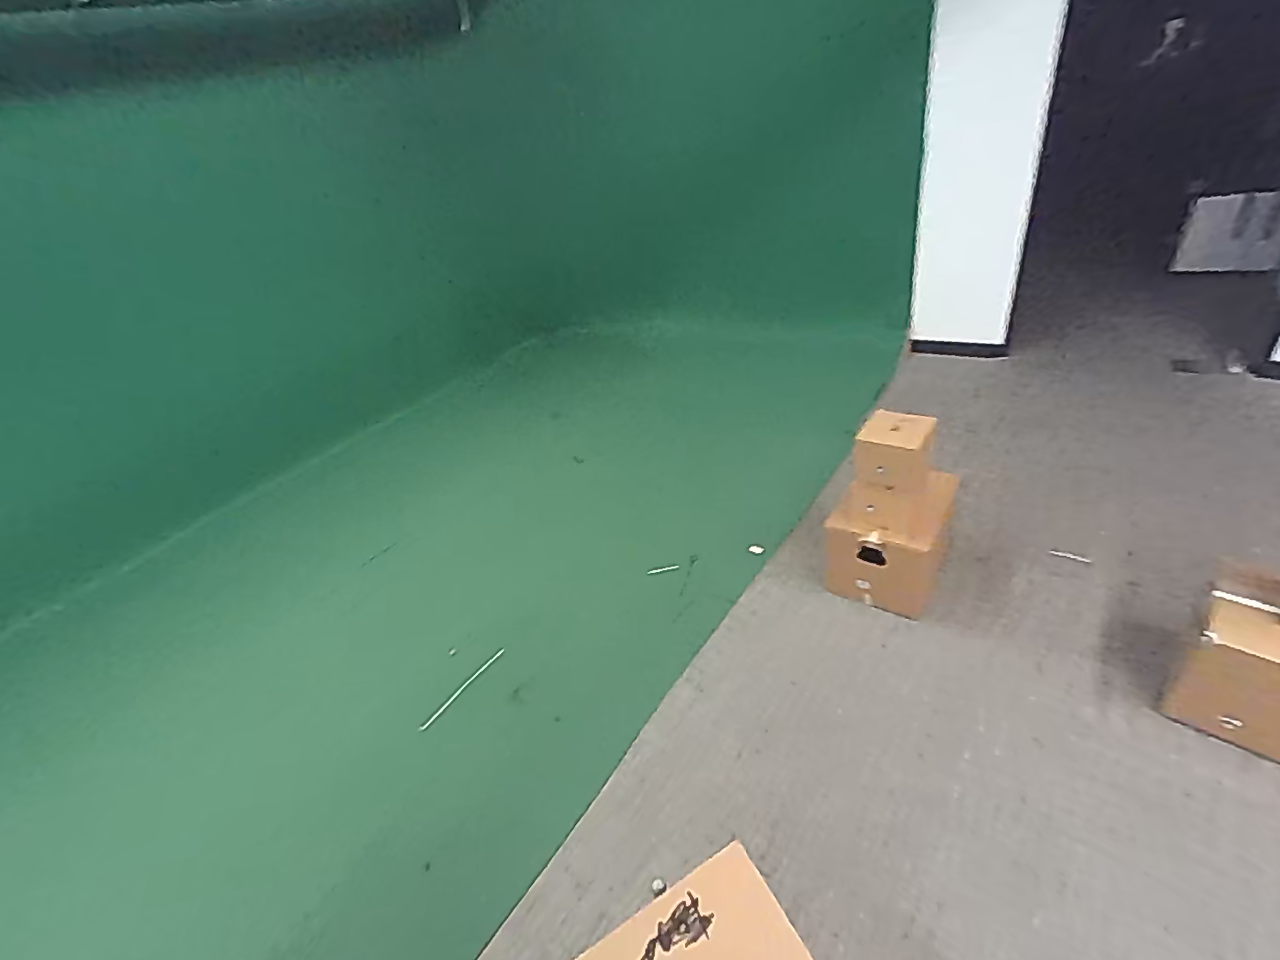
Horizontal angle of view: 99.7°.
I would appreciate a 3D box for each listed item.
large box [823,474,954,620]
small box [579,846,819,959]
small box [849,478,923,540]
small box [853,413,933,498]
[{"bbox_3d":[0.853,0.202,1.861,0.320,0.320,0.408,15,43,36],"label":"large box"},{"bbox_3d":[0.055,0.401,0.368,0.168,0.176,0.179,-23,45,-18],"label":"small box"},{"bbox_3d":[0.760,0.058,1.666,0.168,0.176,0.179,17,44,37],"label":"small box"},{"bbox_3d":[0.732,-0.071,1.568,0.168,0.176,0.179,17,44,37],"label":"small box"}]
